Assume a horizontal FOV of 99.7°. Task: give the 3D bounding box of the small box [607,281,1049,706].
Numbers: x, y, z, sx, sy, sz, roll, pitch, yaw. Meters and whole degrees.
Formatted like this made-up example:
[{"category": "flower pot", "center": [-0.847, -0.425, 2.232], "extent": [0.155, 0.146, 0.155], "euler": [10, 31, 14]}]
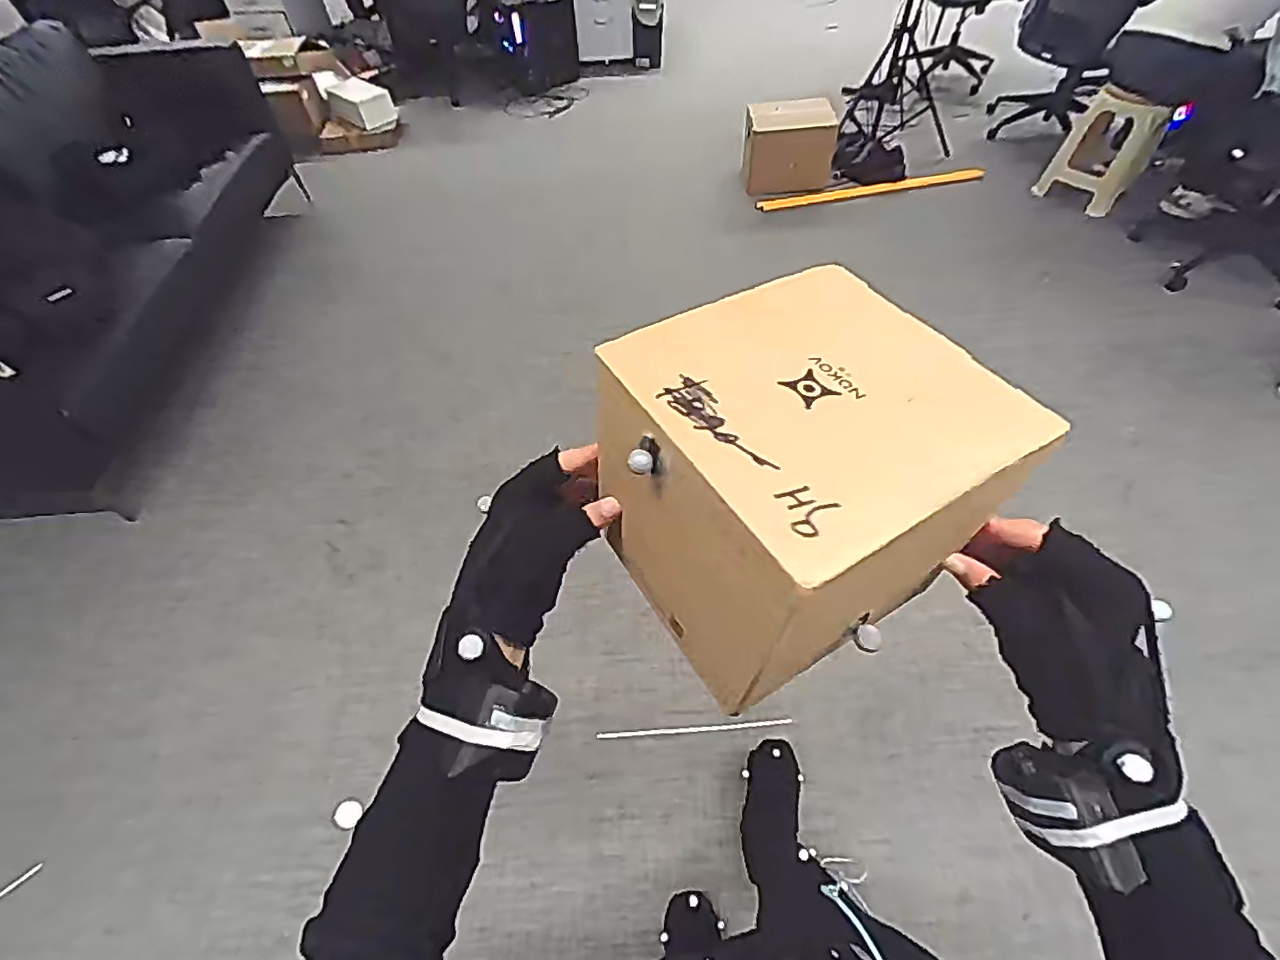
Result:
[{"category": "small box", "center": [0.089, 0.008, 0.343], "extent": [0.179, 0.176, 0.168], "euler": [-25, 56, -22]}]
